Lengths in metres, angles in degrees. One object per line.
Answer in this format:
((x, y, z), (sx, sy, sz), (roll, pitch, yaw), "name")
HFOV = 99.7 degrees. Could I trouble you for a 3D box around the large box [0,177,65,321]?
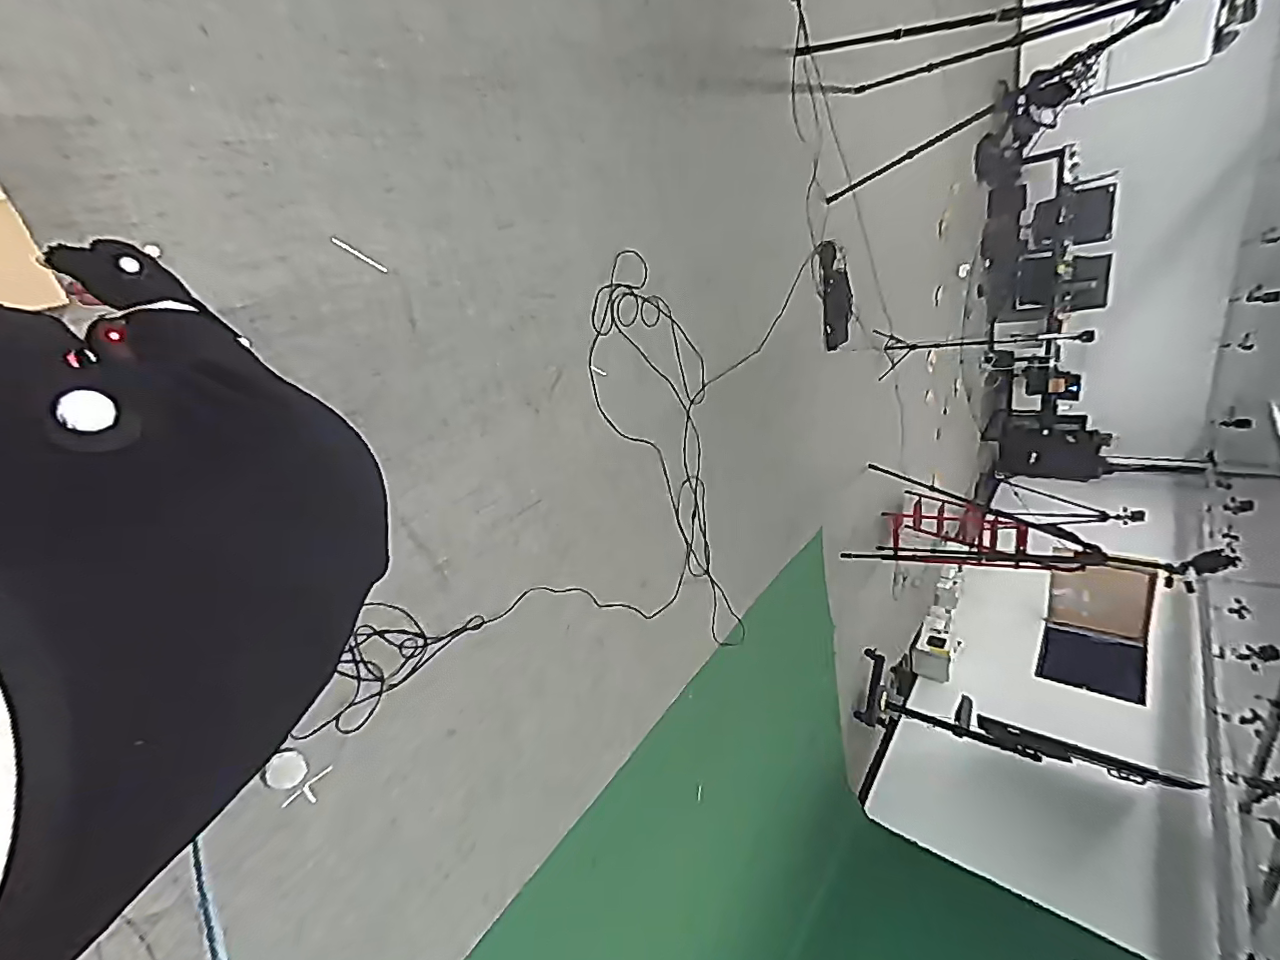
((-1.141, -0.354, 0.736), (0.408, 0.320, 0.320), (-34, 121, -40), "large box")
